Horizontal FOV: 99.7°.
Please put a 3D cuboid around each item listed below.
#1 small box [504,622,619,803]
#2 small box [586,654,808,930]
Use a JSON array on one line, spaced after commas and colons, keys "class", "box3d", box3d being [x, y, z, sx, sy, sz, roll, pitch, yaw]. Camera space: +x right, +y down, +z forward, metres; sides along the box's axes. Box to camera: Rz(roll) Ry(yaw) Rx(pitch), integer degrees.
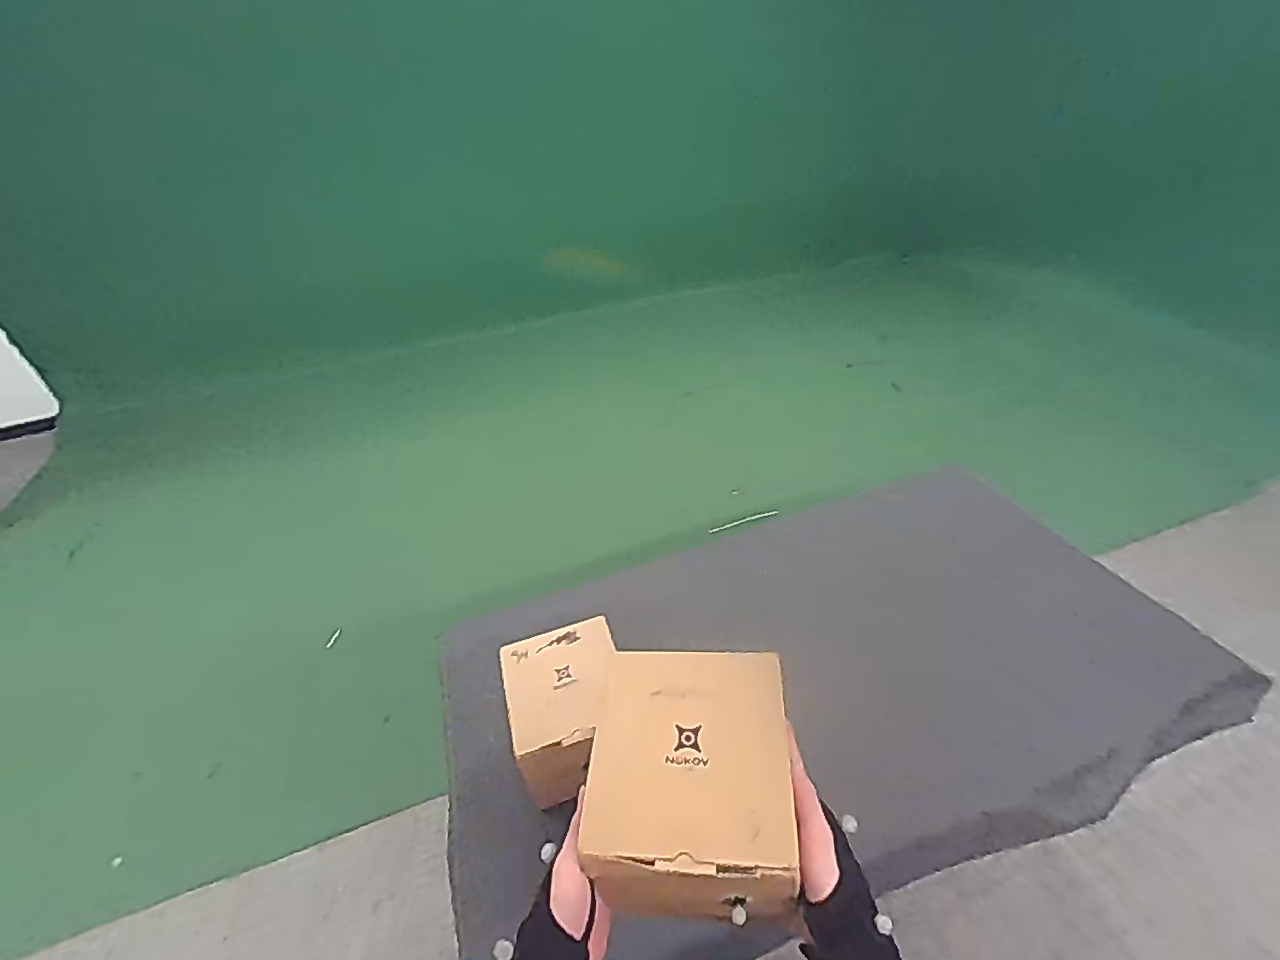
[{"class": "small box", "box3d": [-0.095, 0.351, 0.810, 0.168, 0.176, 0.179, -14, 39, -12]}, {"class": "small box", "box3d": [0.059, 0.285, 0.502, 0.168, 0.176, 0.179, -1, 38, 9]}]
